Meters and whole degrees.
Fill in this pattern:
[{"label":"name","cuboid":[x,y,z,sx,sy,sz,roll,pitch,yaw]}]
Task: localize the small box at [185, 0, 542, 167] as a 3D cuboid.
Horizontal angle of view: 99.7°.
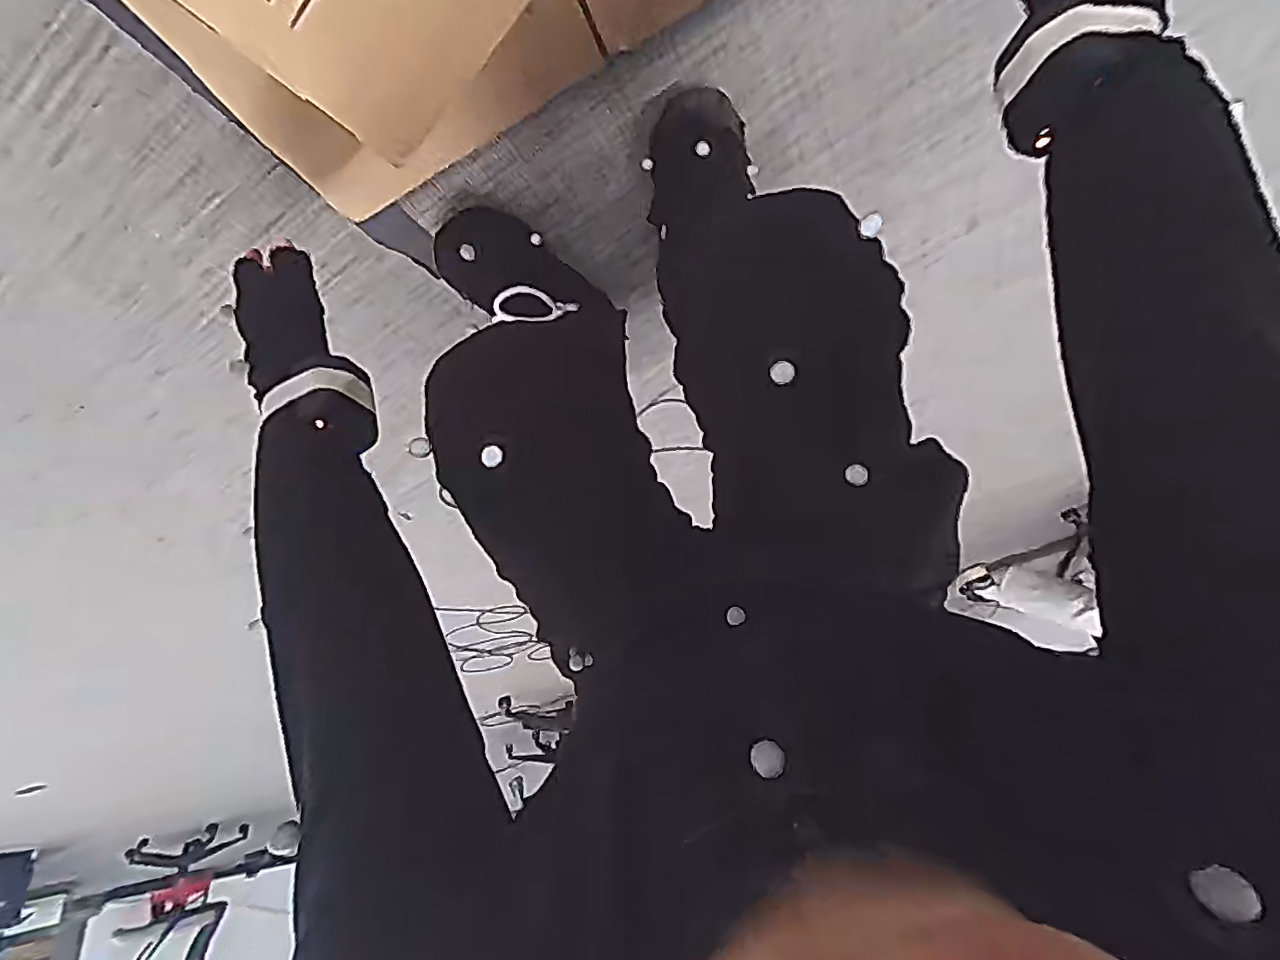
[{"label":"small box","cuboid":[-0.160,-0.339,0.306,0.179,0.176,0.168,-32,145,26]}]
